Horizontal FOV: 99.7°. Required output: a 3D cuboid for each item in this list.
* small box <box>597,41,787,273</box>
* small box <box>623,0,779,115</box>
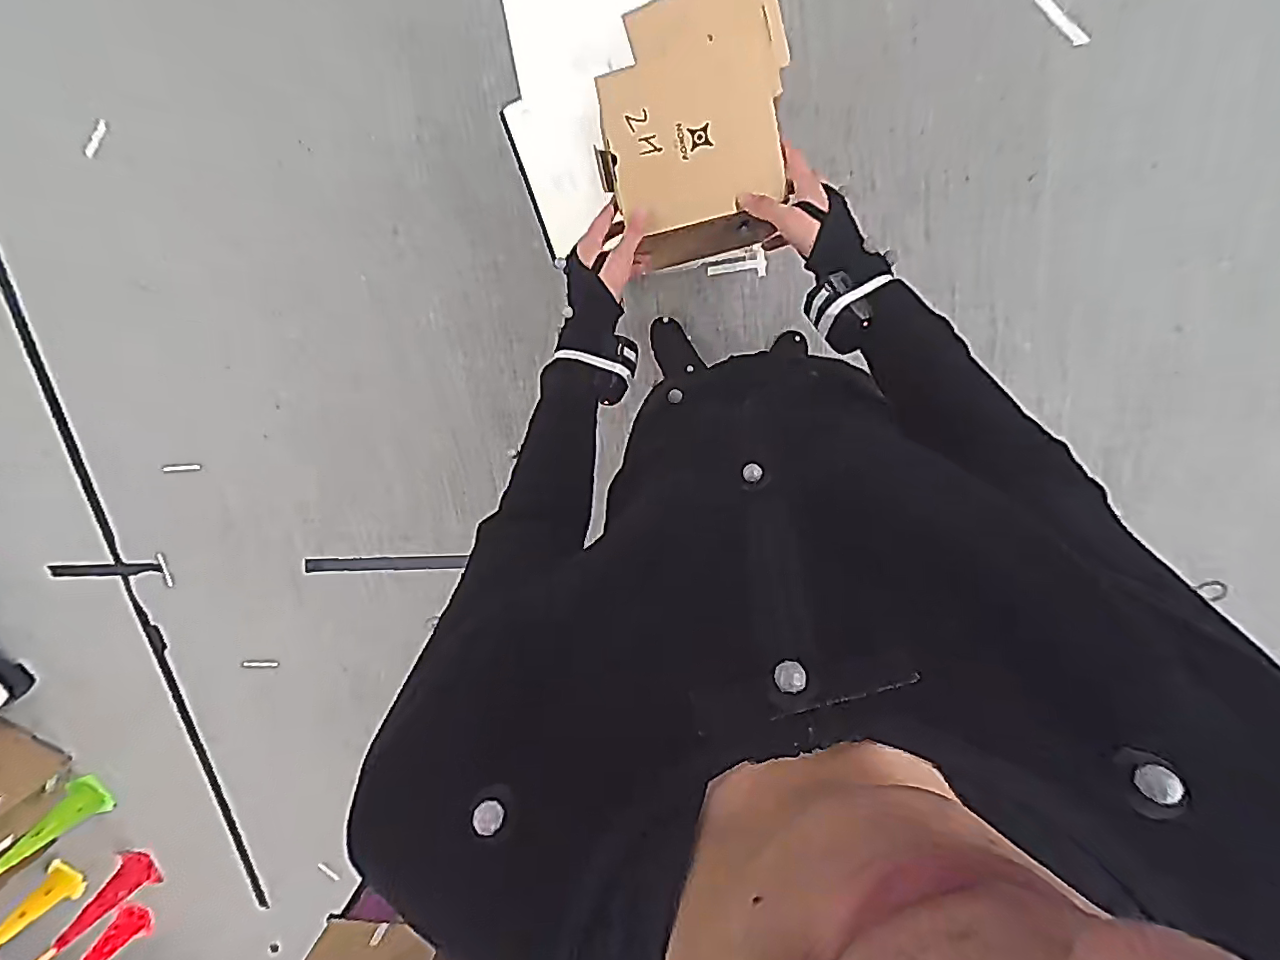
[{"bbox_3d":[0.062,-0.362,0.643,0.179,0.176,0.168,-11,99,9],"label":"small box"},{"bbox_3d":[0.091,-0.577,0.792,0.179,0.176,0.168,-15,103,13],"label":"small box"}]
